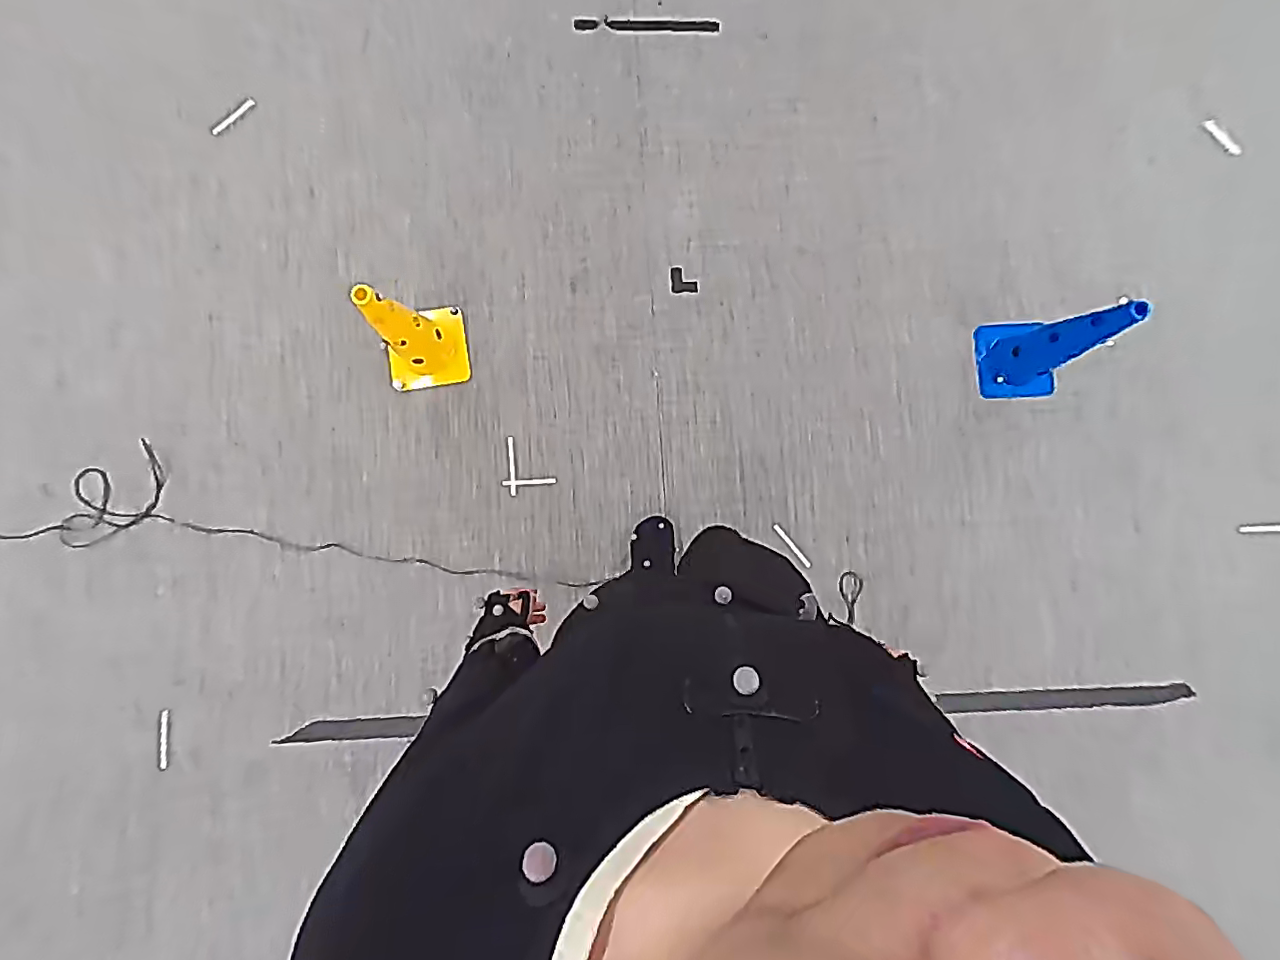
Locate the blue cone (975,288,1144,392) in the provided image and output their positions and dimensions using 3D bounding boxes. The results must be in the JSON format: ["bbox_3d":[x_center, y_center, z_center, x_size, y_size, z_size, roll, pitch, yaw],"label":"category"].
[{"bbox_3d":[0.992,-0.341,1.266,0.193,0.380,0.192,-2,85,-2],"label":"blue cone"}]
